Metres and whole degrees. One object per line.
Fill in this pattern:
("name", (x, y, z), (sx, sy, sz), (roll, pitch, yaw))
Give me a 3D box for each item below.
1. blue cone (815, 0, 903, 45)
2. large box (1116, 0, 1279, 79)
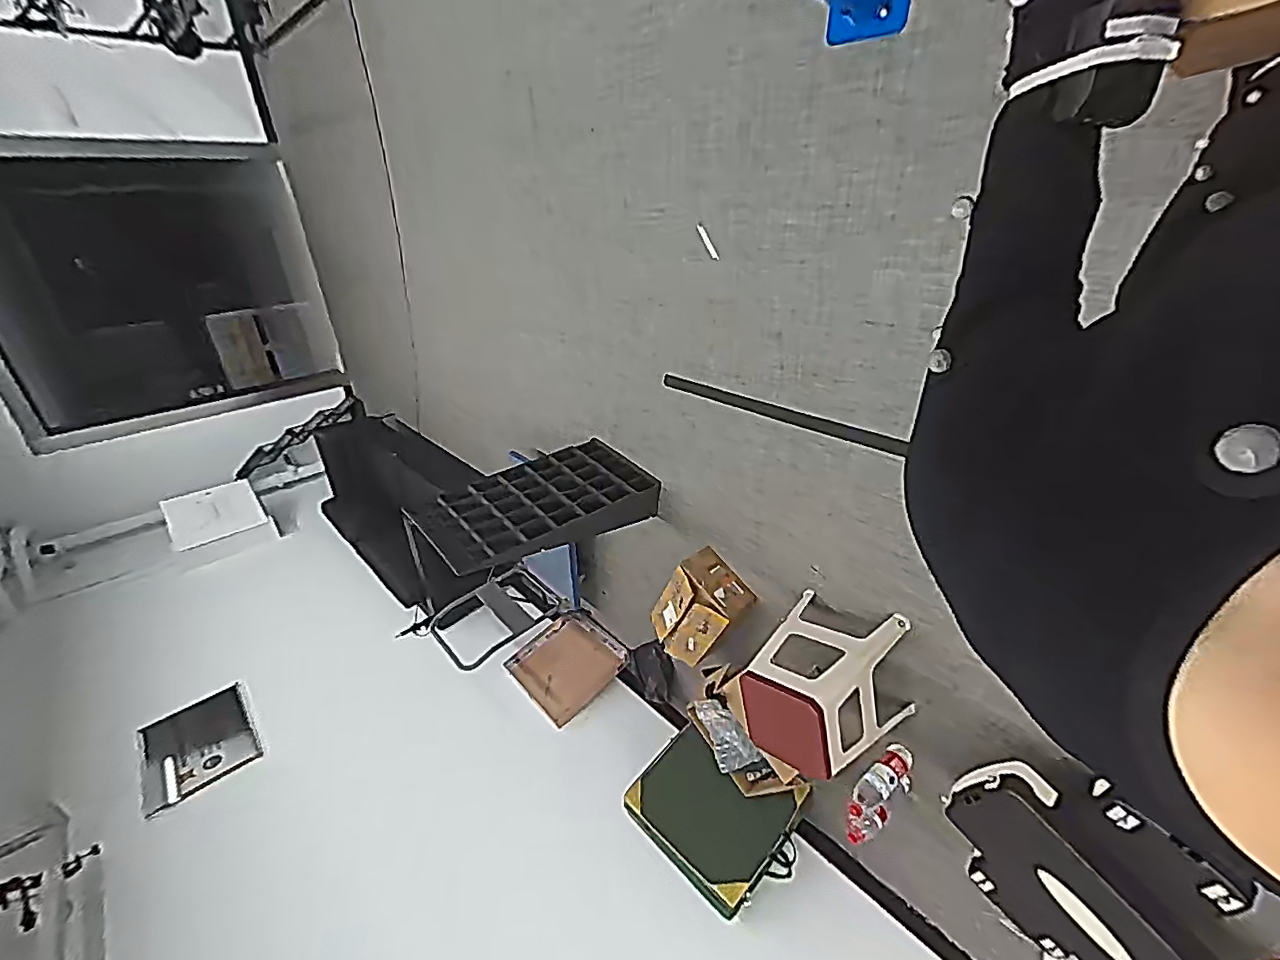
("blue cone", (0.400, -1.077, 1.147), (0.192, 0.380, 0.193), (31, 132, 40))
("large box", (0.539, -0.453, 0.261), (0.408, 0.320, 0.320), (16, 123, 44))
